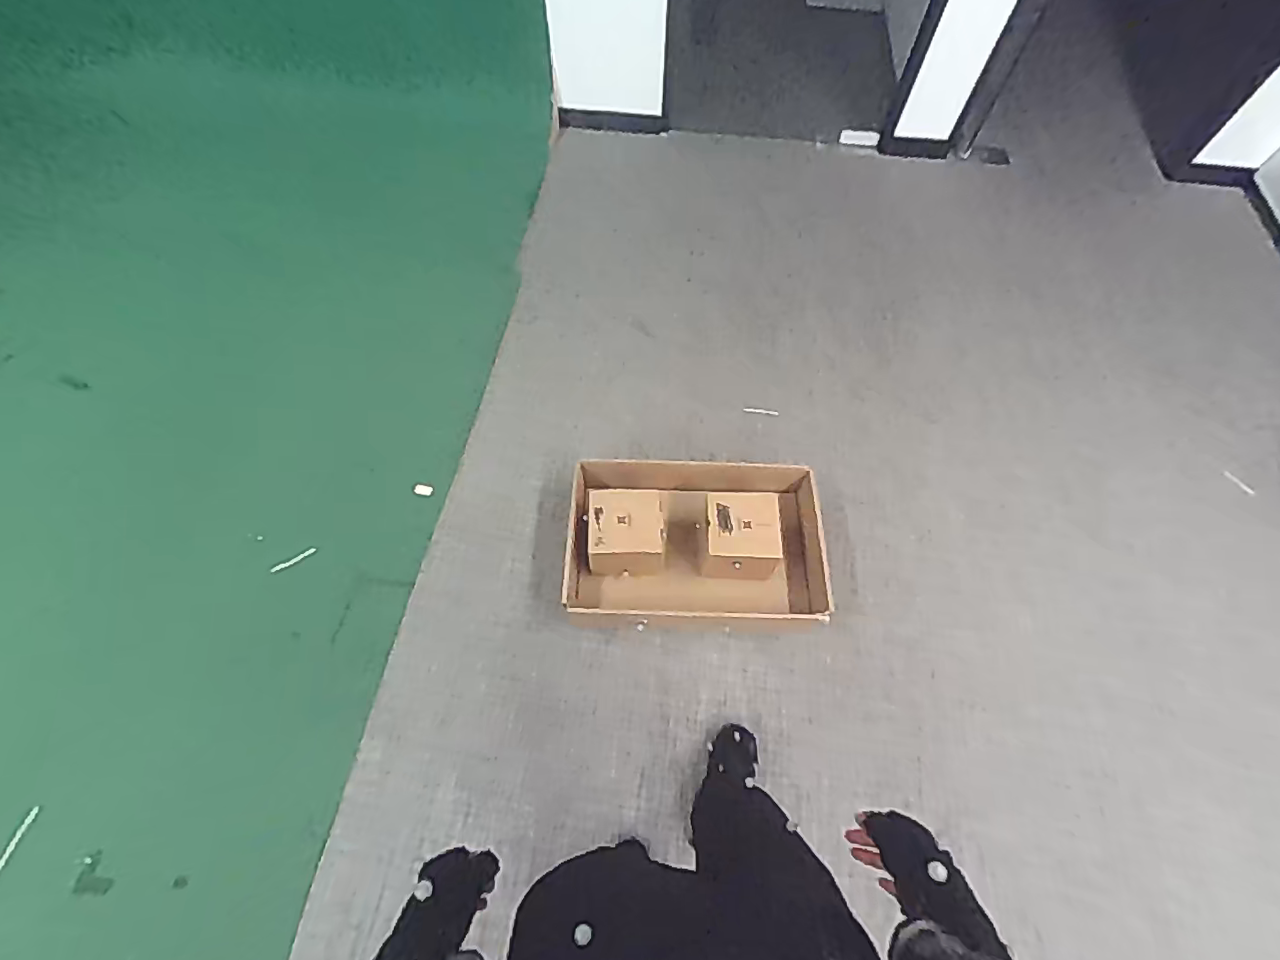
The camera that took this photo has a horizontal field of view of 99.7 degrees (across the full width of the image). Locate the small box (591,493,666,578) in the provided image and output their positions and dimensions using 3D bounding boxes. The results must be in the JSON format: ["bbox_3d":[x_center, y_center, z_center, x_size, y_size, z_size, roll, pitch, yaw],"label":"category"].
[{"bbox_3d":[-0.032,0.142,1.360,0.179,0.176,0.168,0,61,-3],"label":"small box"}]

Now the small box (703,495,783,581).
[{"bbox_3d":[0.250,0.150,1.360,0.179,0.176,0.168,2,62,1],"label":"small box"}]
